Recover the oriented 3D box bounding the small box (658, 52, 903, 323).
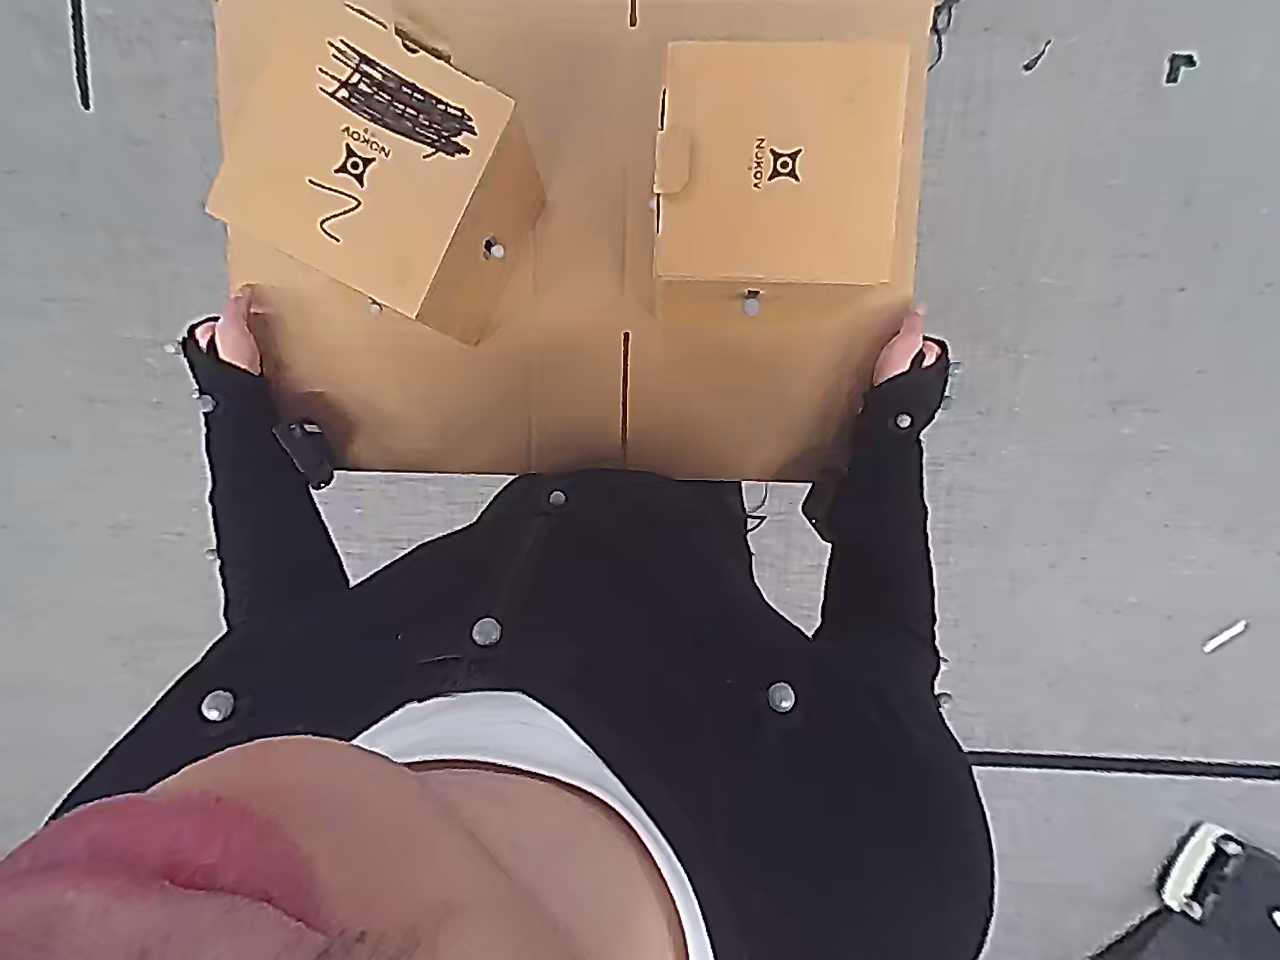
[{"bbox_3d":[0.108,-0.242,0.489,0.179,0.176,0.168,3,95,3],"label":"small box"}]
